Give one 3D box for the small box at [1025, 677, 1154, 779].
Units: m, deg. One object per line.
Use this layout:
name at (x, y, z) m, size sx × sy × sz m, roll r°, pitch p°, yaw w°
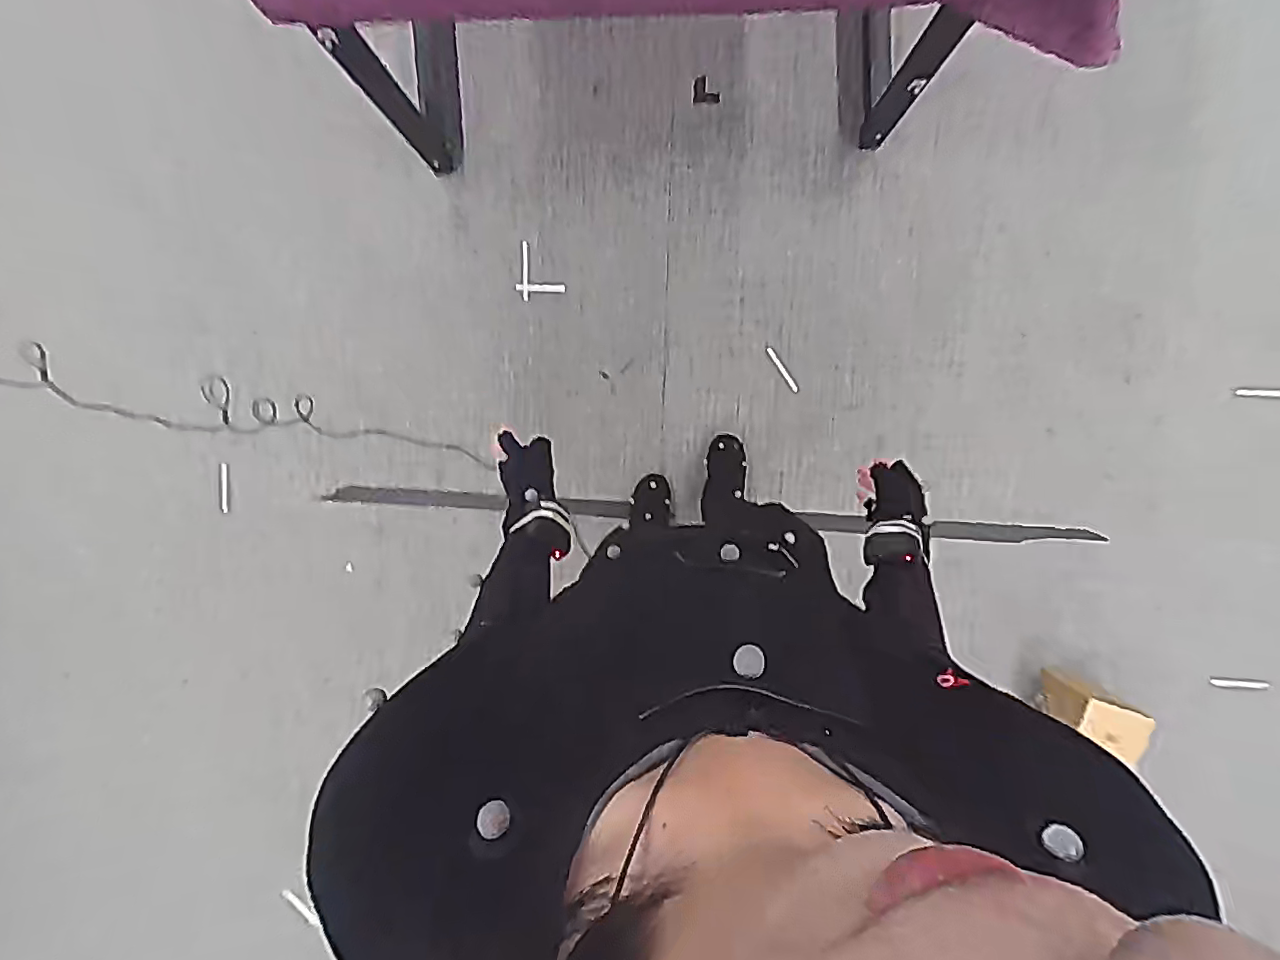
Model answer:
small box at (1.193, 0.654, 1.449) m, size 0.179 × 0.176 × 0.168 m, roll 18°, pitch 94°, yaw 2°
